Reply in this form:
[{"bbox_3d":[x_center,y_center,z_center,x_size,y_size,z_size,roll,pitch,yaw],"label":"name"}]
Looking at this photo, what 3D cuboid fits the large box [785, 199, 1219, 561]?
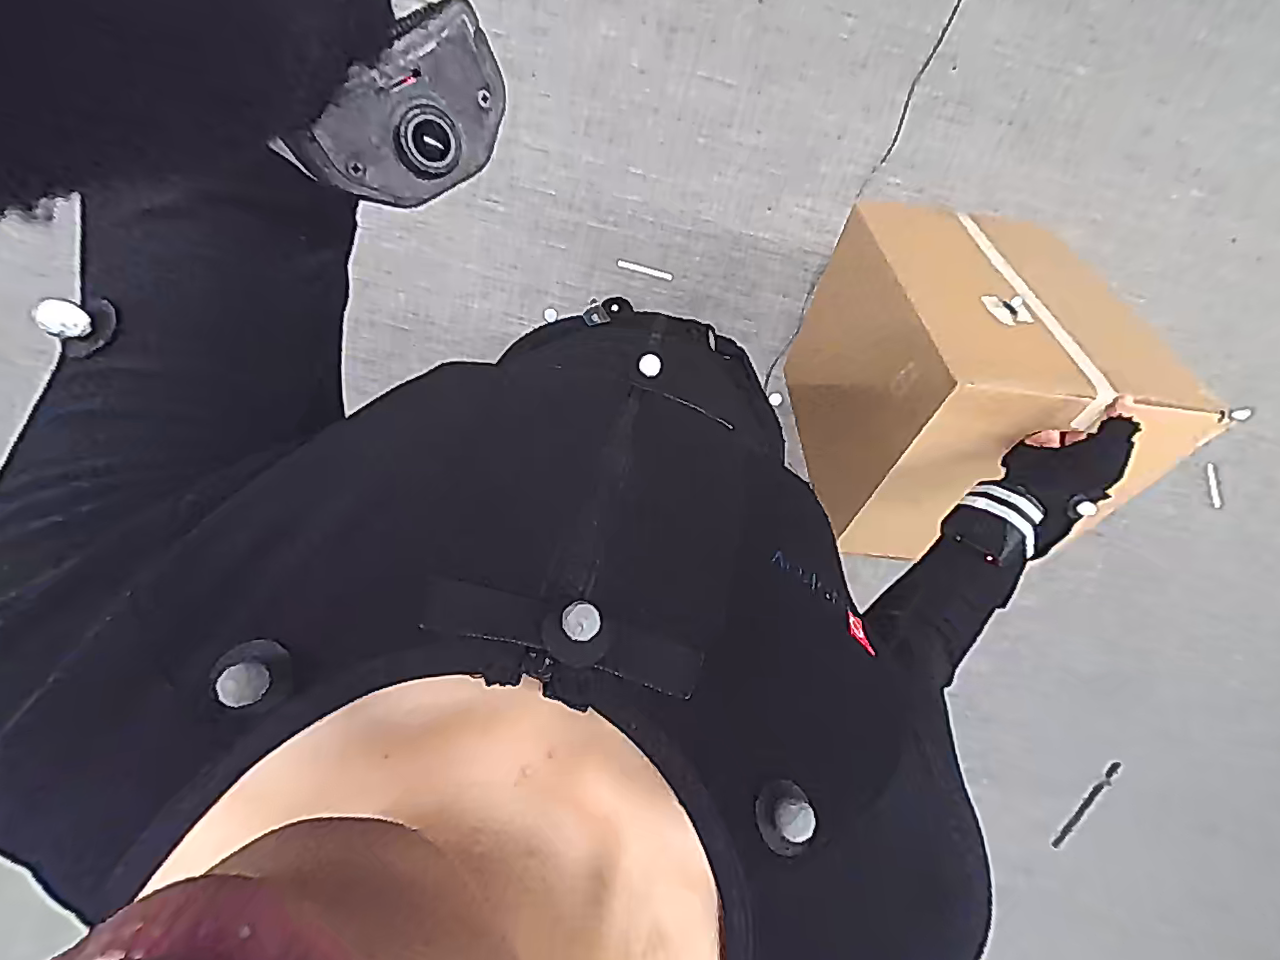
[{"bbox_3d":[0.438,-0.142,0.788,0.320,0.408,0.320,6,141,-5],"label":"large box"}]
